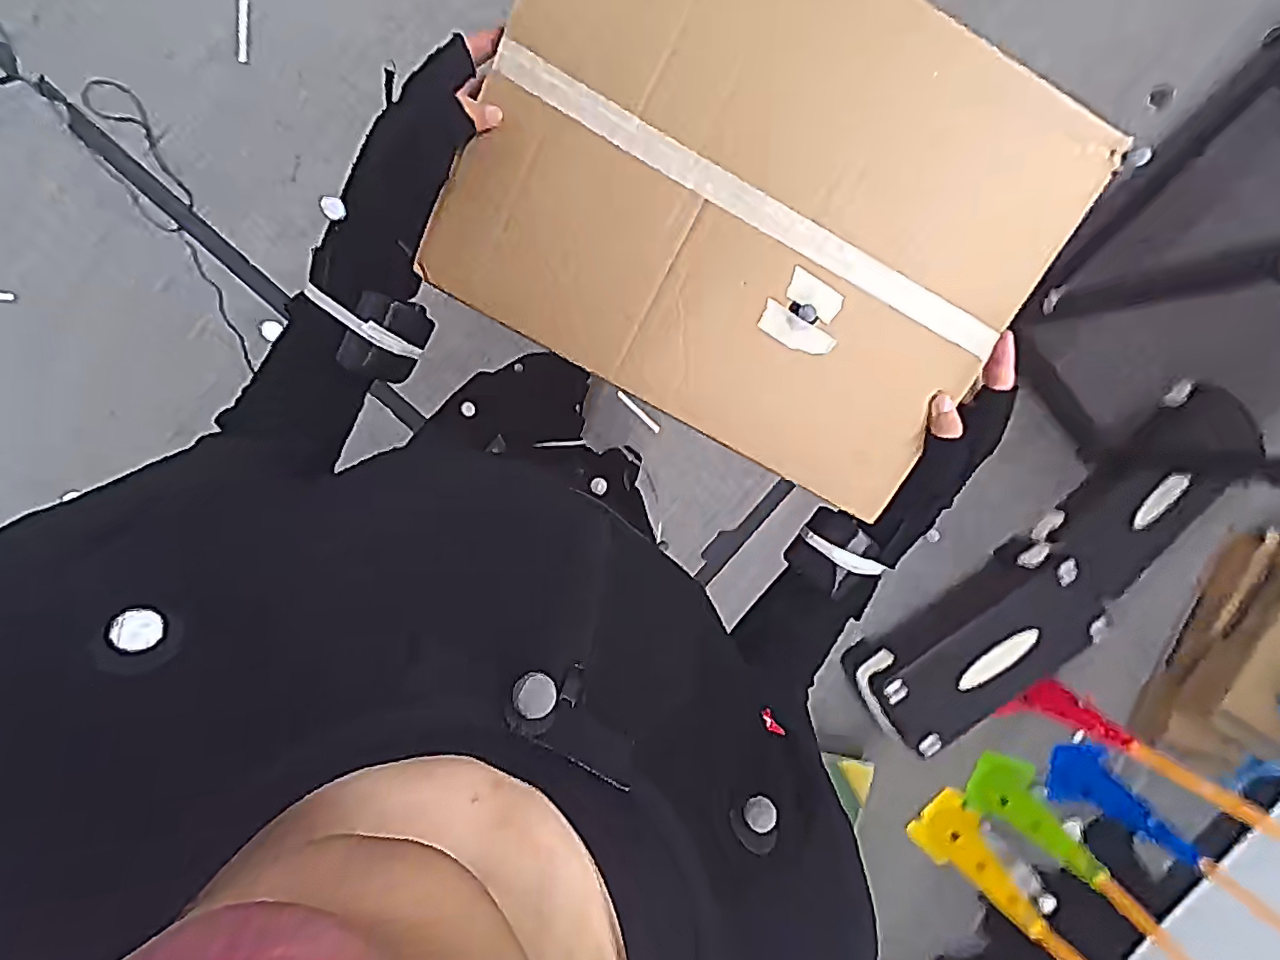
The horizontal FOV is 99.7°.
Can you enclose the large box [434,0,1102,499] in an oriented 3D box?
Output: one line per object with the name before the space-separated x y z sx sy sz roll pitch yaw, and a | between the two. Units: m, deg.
large box | 0.086 -0.236 0.540 0.408 0.320 0.320 28 104 -7
